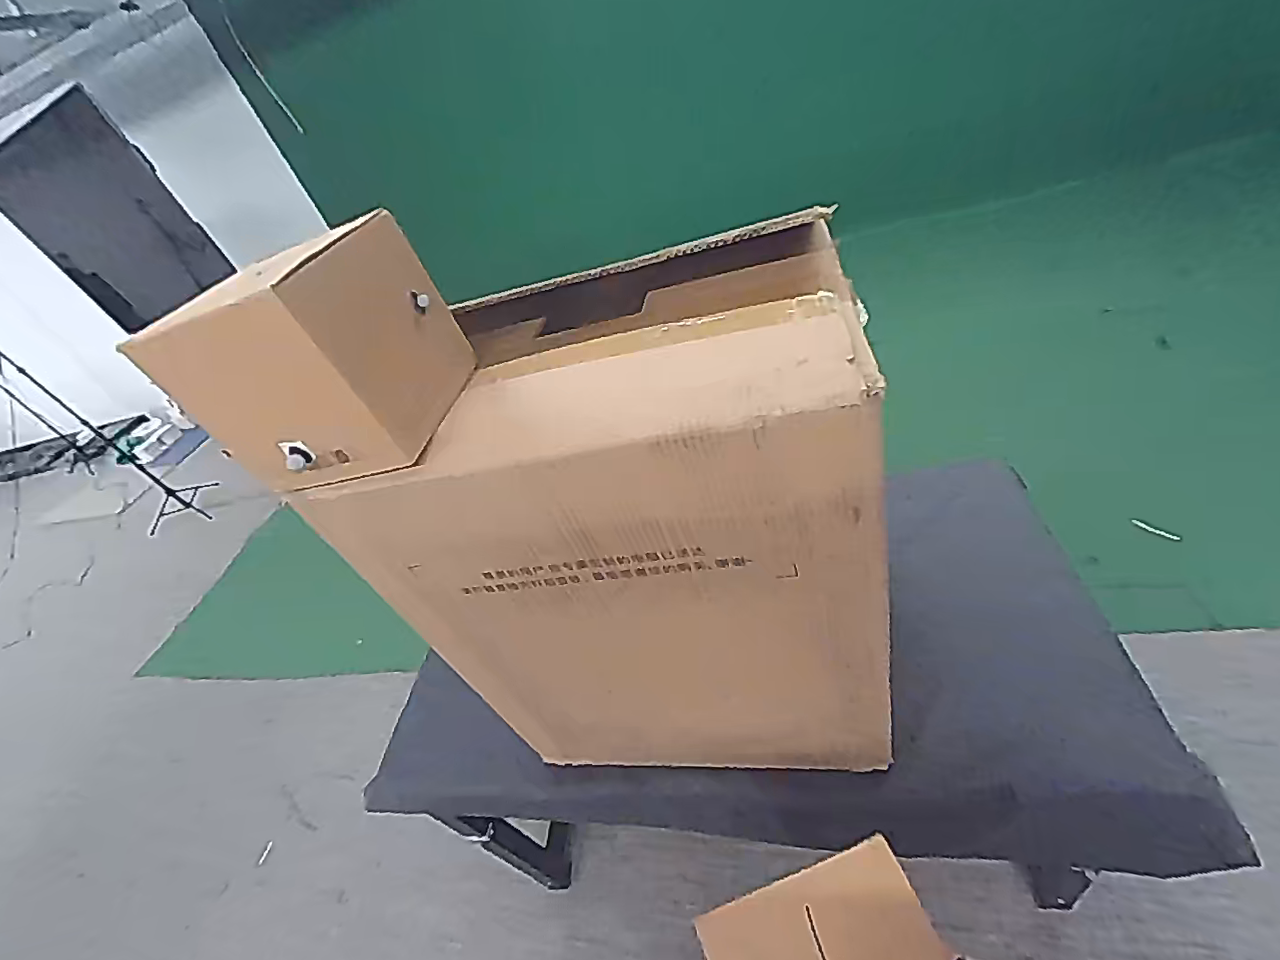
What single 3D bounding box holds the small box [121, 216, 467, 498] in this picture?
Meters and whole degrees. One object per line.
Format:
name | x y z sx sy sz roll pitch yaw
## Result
small box | -0.287 -0.109 0.499 0.168 0.176 0.179 -12 41 17
